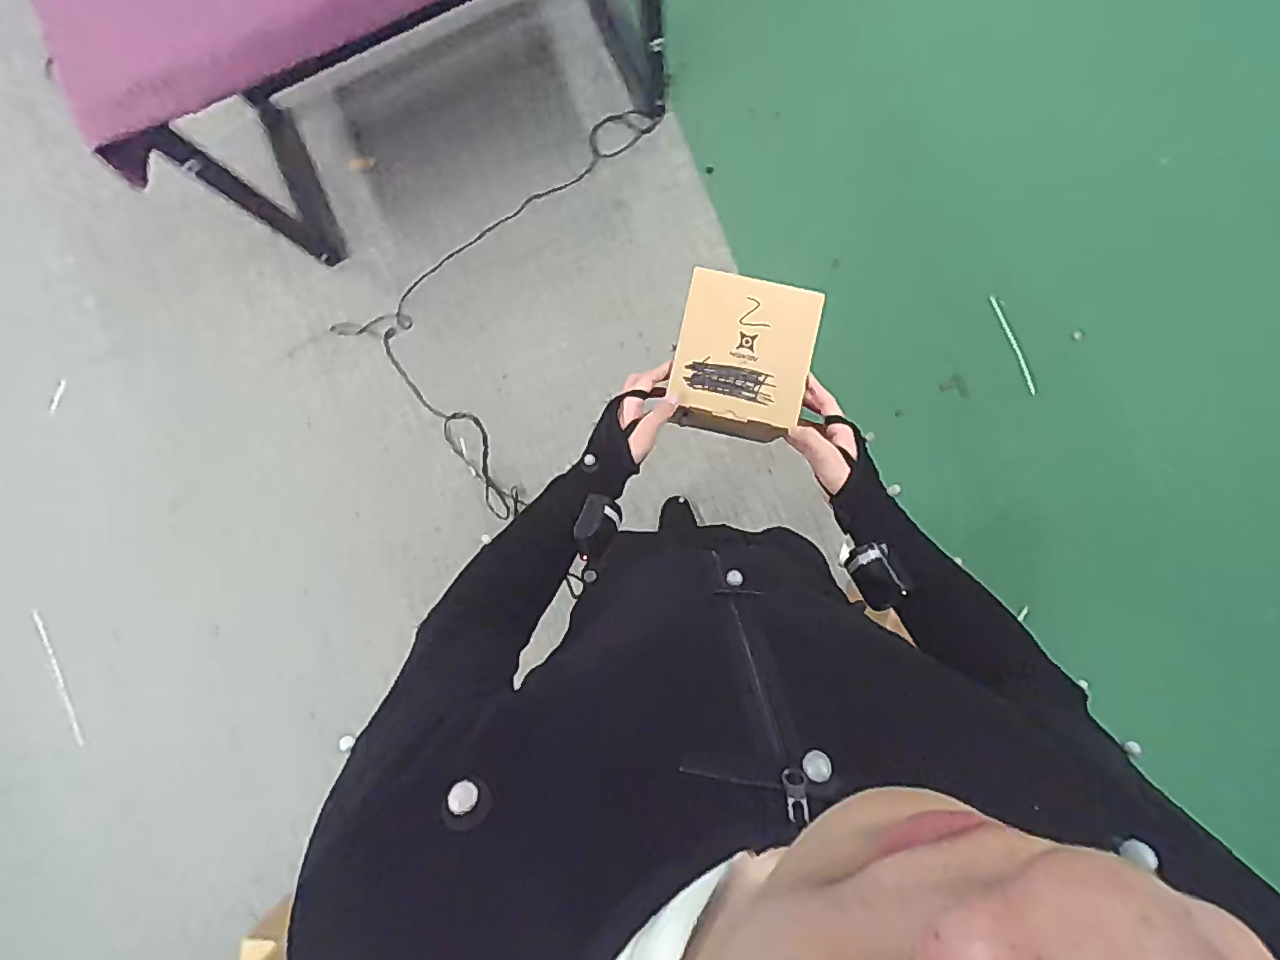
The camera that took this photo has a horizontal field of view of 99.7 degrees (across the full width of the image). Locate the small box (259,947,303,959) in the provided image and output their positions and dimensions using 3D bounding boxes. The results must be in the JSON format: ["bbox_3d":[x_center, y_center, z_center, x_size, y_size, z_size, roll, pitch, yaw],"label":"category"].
[{"bbox_3d":[-0.882,1.267,1.263,0.168,0.176,0.179,22,89,4],"label":"small box"}]
